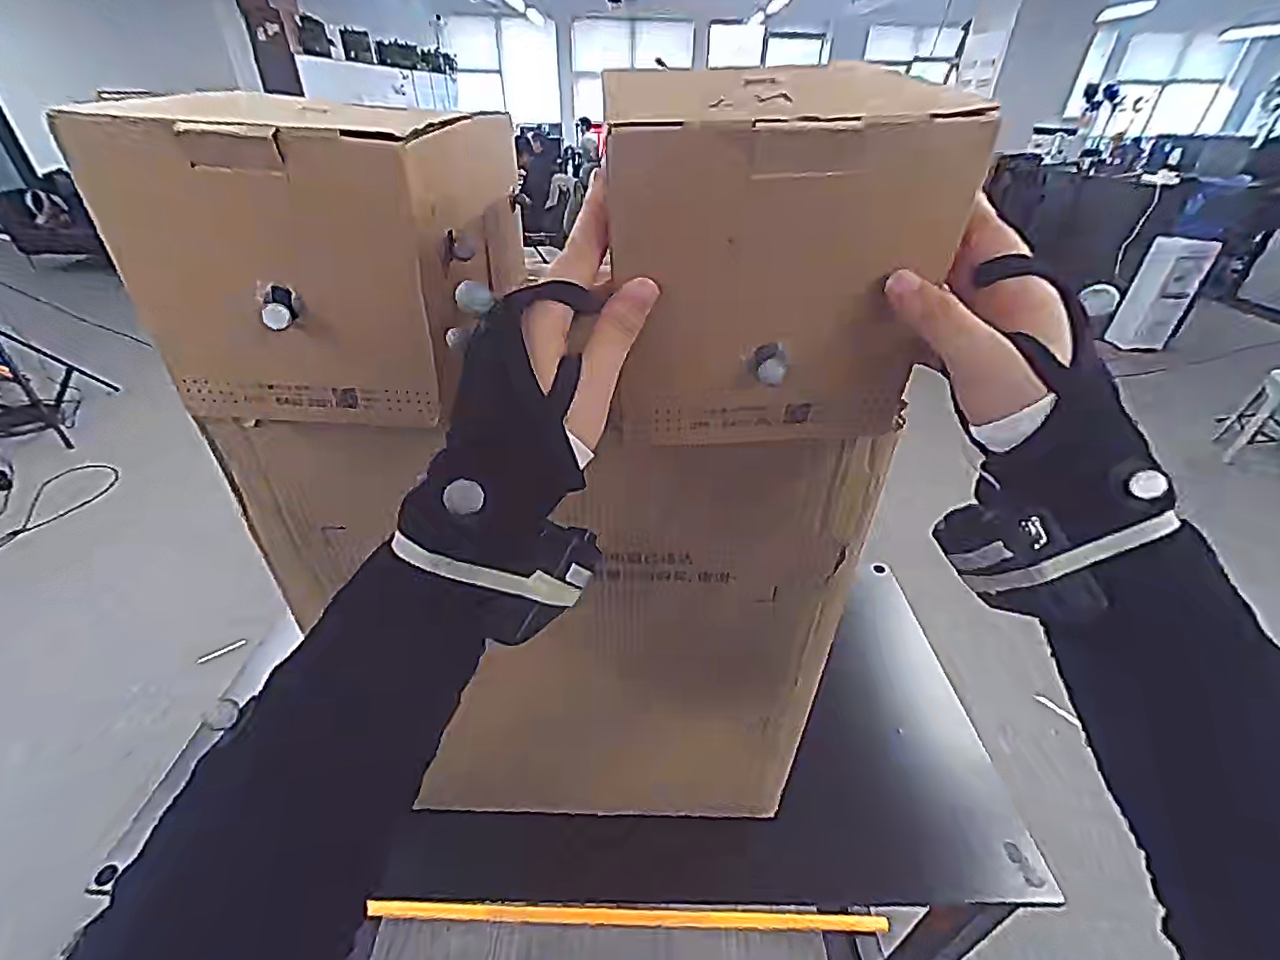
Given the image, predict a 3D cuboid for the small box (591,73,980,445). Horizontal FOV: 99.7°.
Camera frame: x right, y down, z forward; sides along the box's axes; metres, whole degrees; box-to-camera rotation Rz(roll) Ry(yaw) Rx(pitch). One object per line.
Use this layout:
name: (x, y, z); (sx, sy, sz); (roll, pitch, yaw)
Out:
small box: (0.059, -0.140, 0.338); (0.168, 0.176, 0.179); (-3, 42, -1)

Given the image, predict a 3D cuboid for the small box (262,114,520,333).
small box: (-0.219, -0.256, 0.536); (0.168, 0.176, 0.179); (0, 34, -1)
